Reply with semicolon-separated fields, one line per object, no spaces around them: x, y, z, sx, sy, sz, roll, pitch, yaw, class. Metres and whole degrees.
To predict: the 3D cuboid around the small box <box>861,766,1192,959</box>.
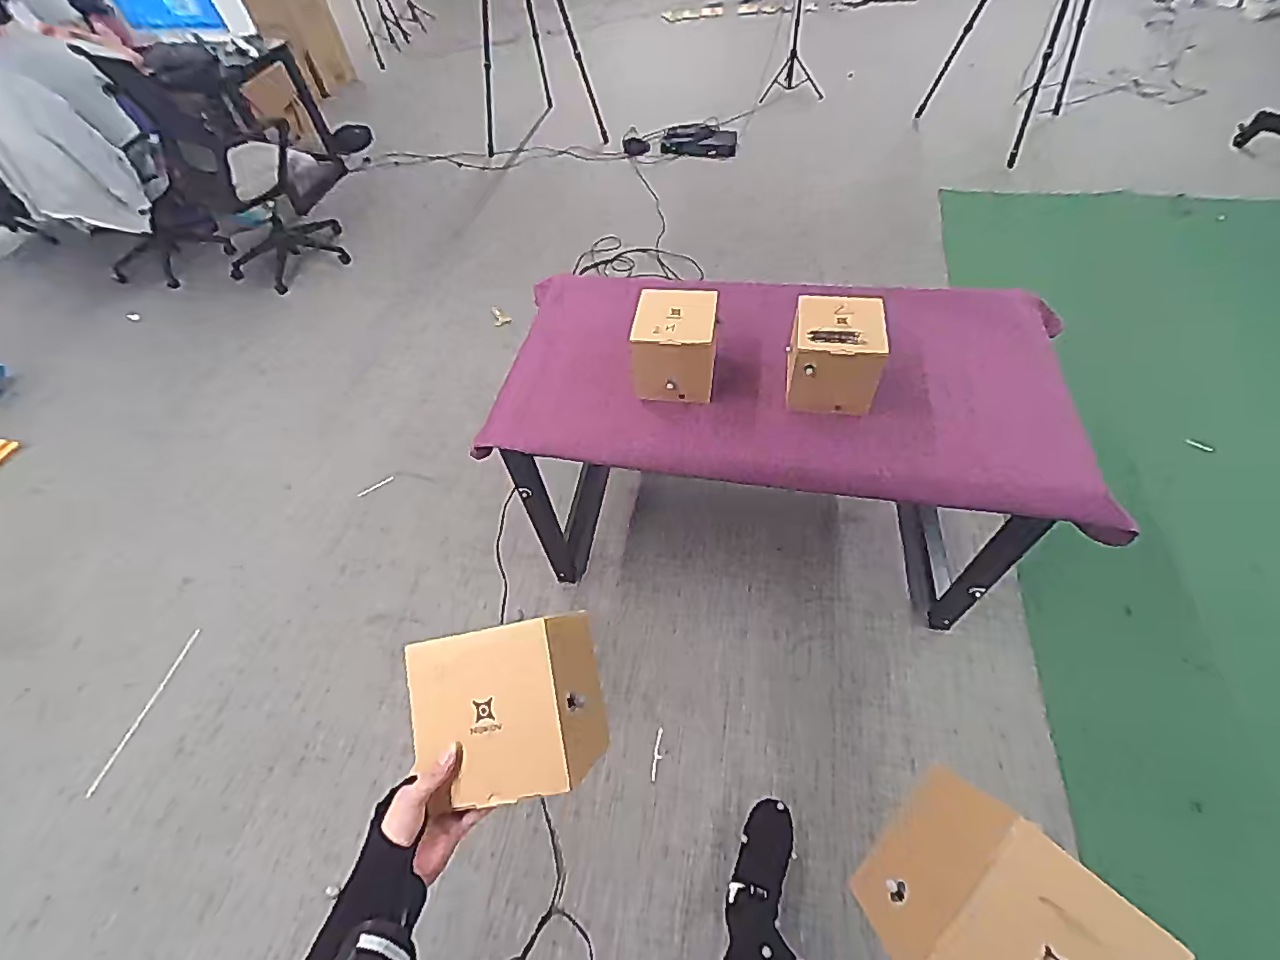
0.343;0.423;0.525;0.168;0.176;0.179;39;83;10;small box

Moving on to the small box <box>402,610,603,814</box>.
-0.150;0.253;0.634;0.168;0.176;0.179;-13;78;6;small box

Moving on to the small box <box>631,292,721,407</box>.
0.081;-0.282;1.169;0.168;0.176;0.179;5;54;9;small box
